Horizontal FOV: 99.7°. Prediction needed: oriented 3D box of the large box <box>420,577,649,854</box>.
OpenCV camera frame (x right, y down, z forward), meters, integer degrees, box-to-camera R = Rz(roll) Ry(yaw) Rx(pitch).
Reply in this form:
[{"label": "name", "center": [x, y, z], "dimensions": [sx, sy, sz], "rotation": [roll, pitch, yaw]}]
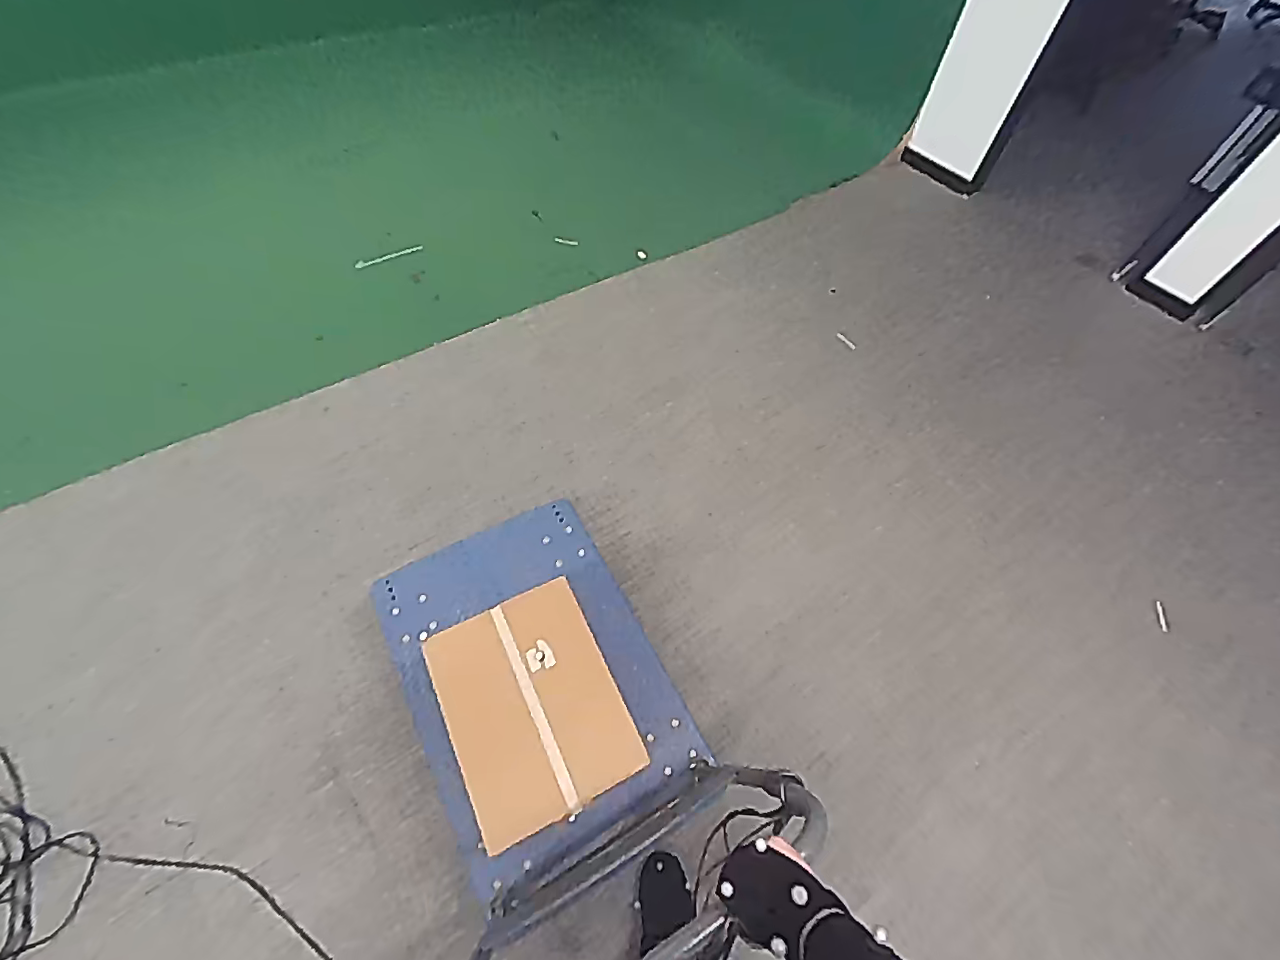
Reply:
[{"label": "large box", "center": [-0.213, 0.487, 1.146], "dimensions": [0.320, 0.320, 0.408], "rotation": [-22, 64, -16]}]
